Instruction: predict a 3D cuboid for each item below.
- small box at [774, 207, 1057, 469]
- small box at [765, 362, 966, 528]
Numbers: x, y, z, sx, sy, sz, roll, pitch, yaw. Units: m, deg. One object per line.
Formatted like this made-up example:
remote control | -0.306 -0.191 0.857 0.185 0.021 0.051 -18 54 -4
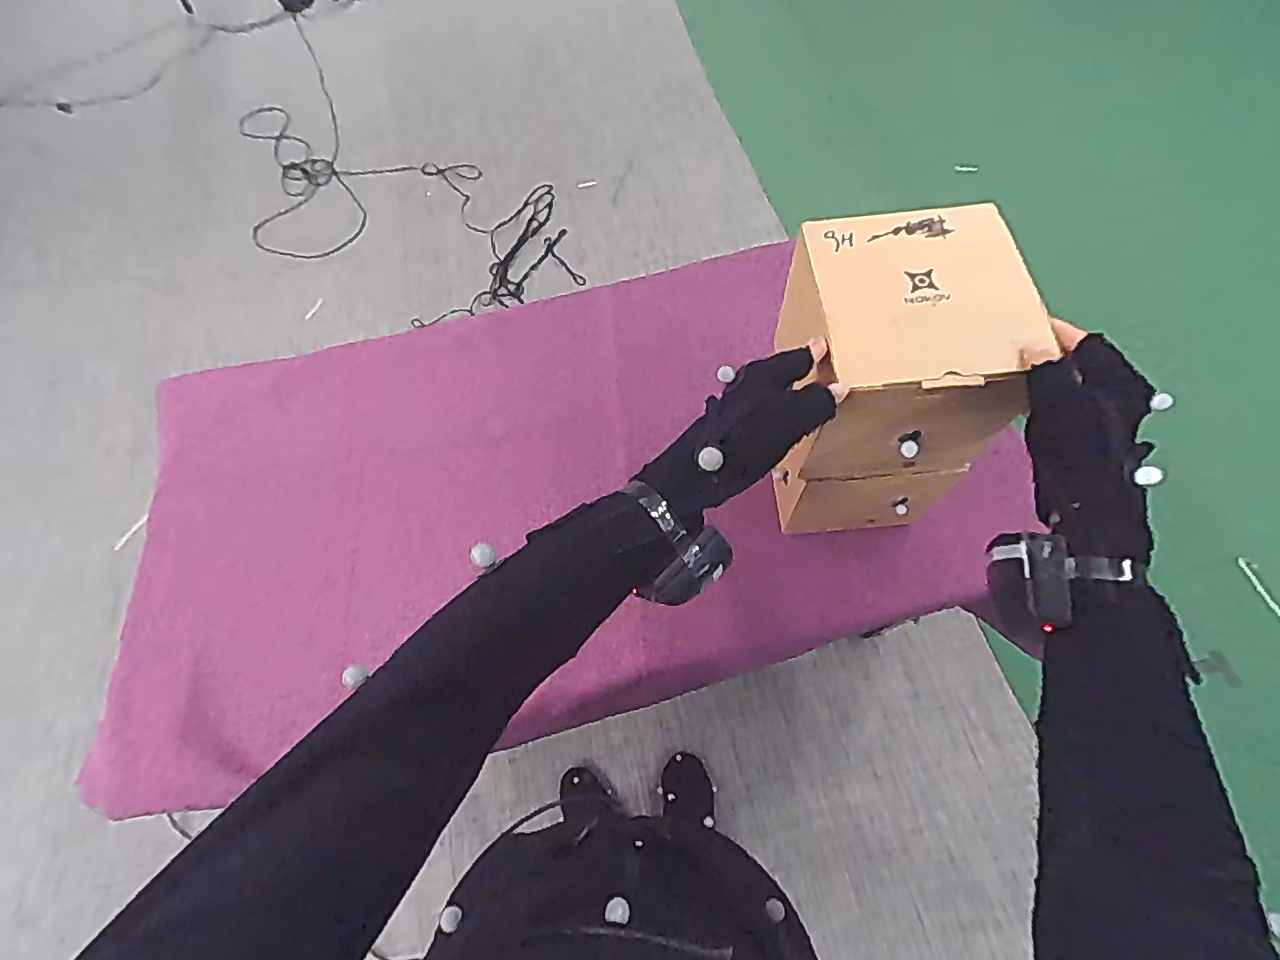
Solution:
small box | 0.228 -0.117 0.506 0.168 0.176 0.179 -4 66 2
small box | 0.252 -0.047 0.653 0.168 0.176 0.179 -5 65 3
